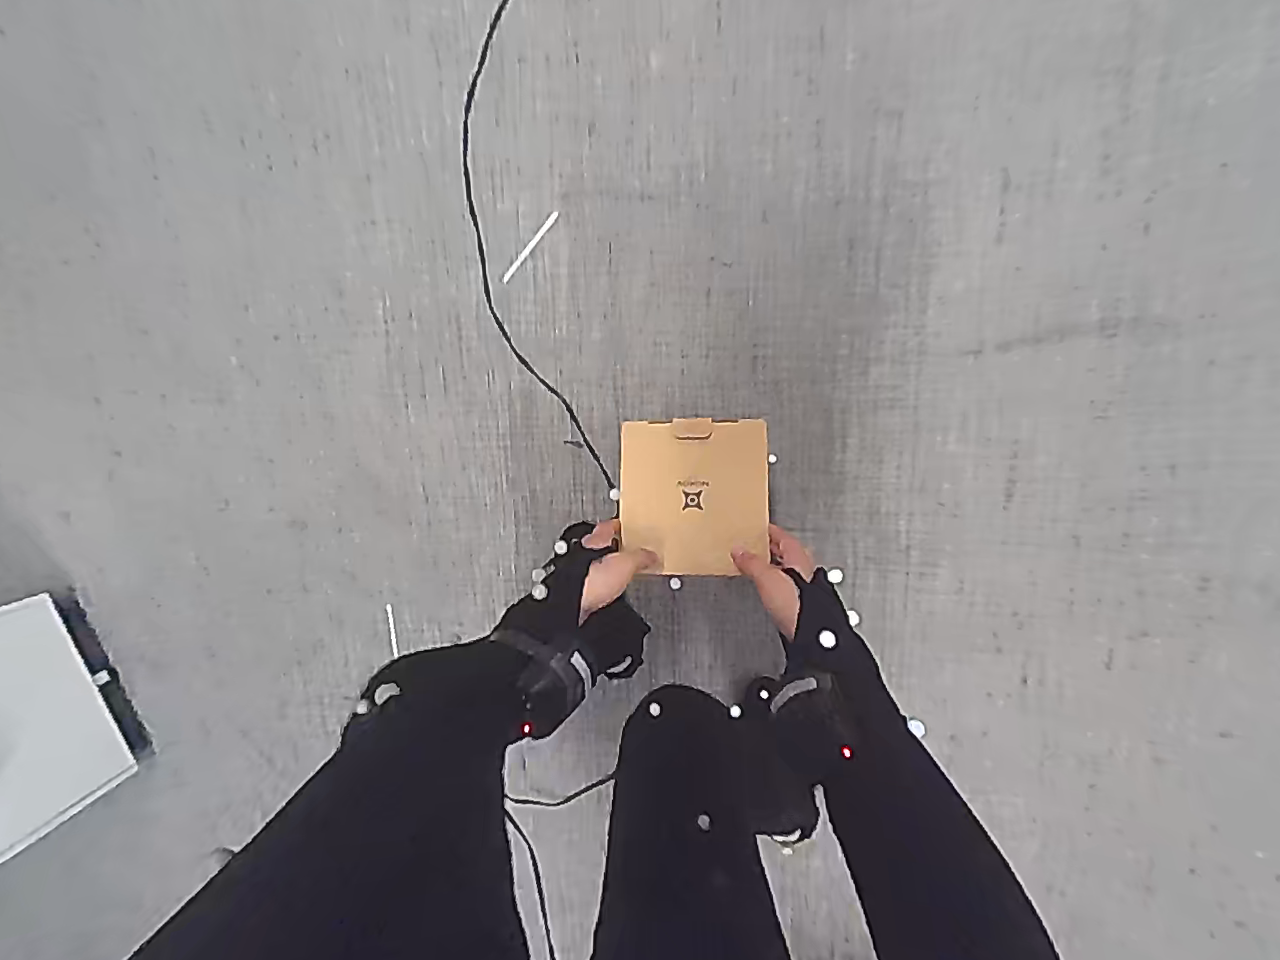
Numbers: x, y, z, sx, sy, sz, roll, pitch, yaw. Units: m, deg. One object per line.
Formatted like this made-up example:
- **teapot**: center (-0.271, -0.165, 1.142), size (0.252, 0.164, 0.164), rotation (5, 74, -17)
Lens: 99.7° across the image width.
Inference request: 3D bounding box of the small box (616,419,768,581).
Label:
- **small box**: center (0.067, 0.034, 0.665), size (0.168, 0.176, 0.179), rotation (0, 78, 7)
